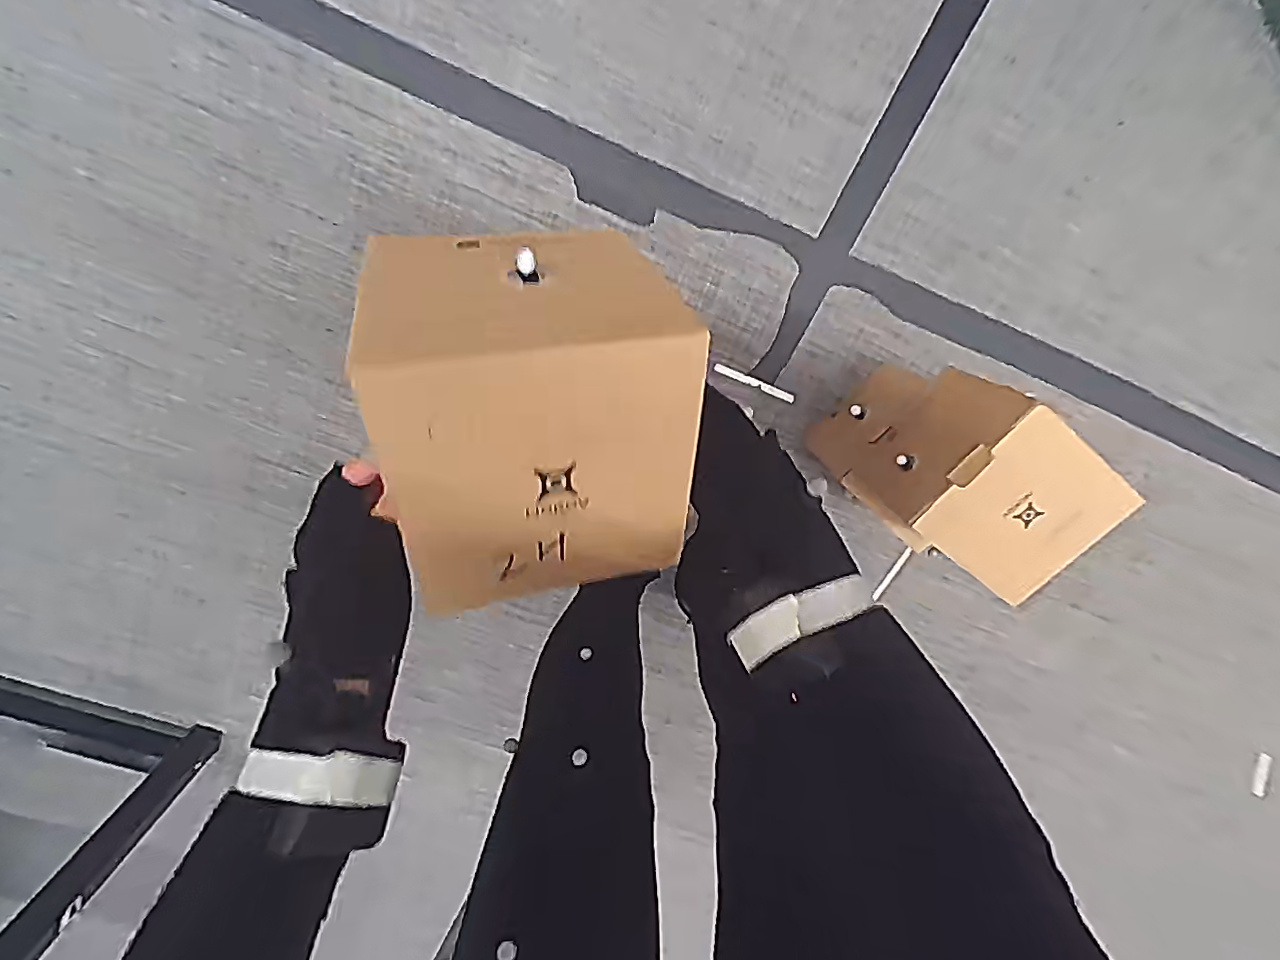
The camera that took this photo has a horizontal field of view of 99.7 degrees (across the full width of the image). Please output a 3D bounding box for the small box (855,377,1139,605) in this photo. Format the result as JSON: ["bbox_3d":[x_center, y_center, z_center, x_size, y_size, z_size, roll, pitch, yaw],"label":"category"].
[{"bbox_3d":[0.385,0.001,0.620,0.179,0.176,0.168,34,109,-15],"label":"small box"}]

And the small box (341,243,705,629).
[{"bbox_3d":[-0.078,-0.036,0.347,0.168,0.176,0.179,-7,136,-17],"label":"small box"}]

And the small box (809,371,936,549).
[{"bbox_3d":[0.376,-0.040,0.782,0.179,0.176,0.168,37,108,-16],"label":"small box"}]
